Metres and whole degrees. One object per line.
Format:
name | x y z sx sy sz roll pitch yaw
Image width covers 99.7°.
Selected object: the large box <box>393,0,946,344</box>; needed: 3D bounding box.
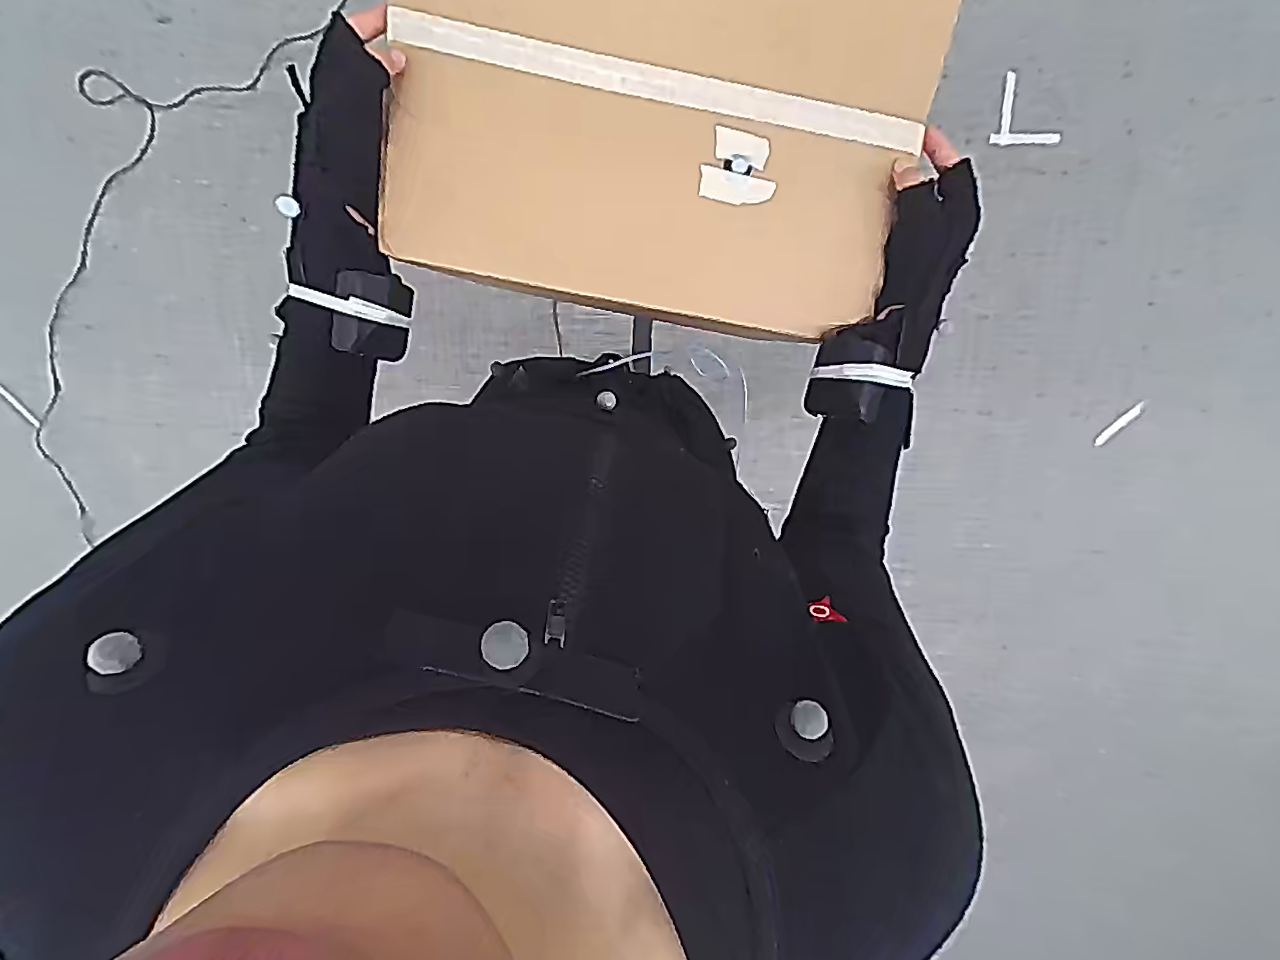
large box | 0.010 -0.331 0.558 0.408 0.320 0.320 9 106 -5
